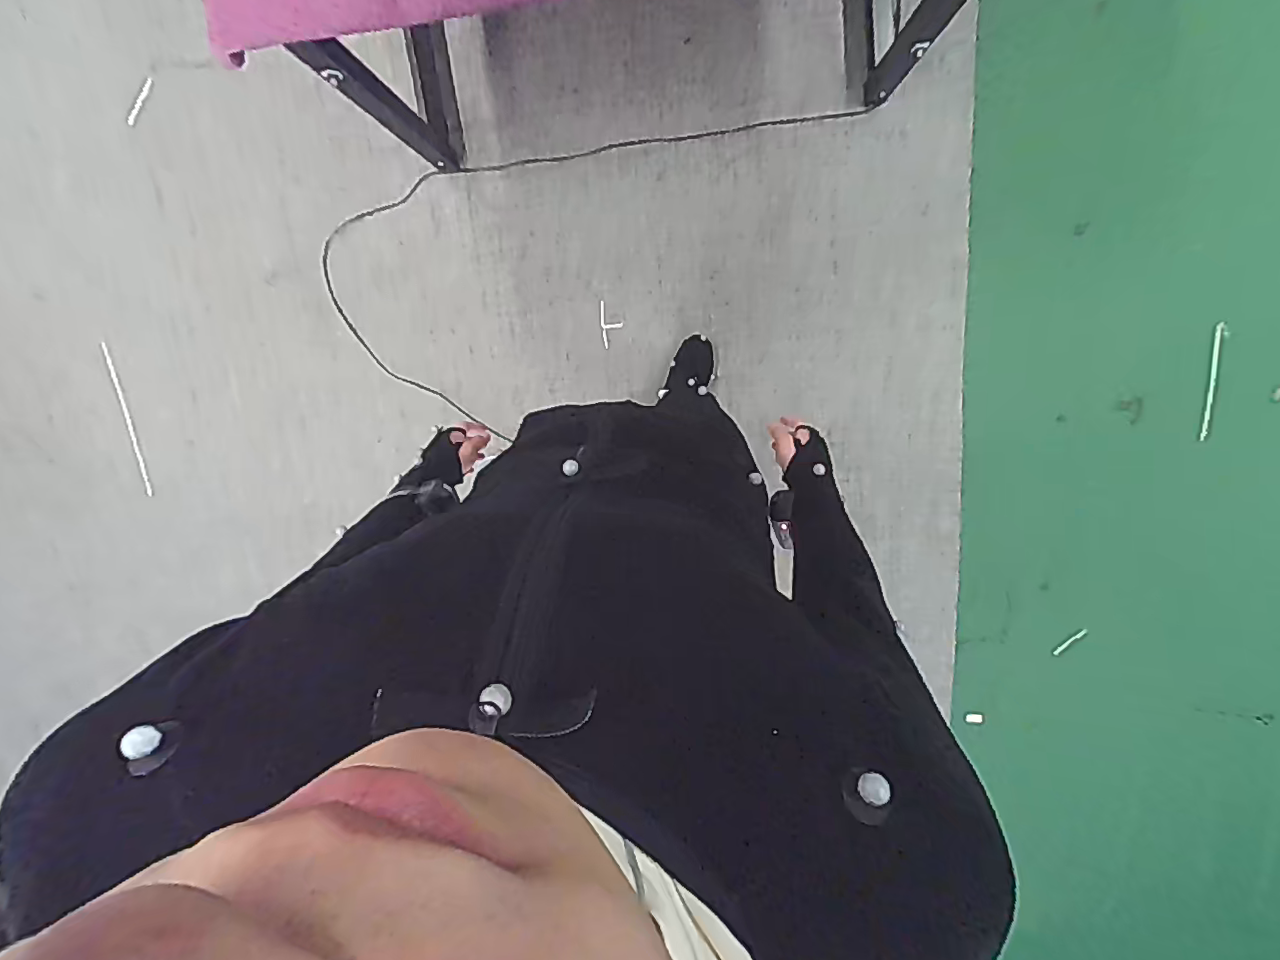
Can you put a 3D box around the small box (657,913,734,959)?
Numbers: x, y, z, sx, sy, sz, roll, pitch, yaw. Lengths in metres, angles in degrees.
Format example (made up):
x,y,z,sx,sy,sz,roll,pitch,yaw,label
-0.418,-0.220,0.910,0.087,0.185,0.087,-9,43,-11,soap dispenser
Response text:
x,y,z,sx,sy,sz,roll,pitch,yaw,label
0.124,1.083,1.172,0.168,0.176,0.179,-5,102,5,small box
